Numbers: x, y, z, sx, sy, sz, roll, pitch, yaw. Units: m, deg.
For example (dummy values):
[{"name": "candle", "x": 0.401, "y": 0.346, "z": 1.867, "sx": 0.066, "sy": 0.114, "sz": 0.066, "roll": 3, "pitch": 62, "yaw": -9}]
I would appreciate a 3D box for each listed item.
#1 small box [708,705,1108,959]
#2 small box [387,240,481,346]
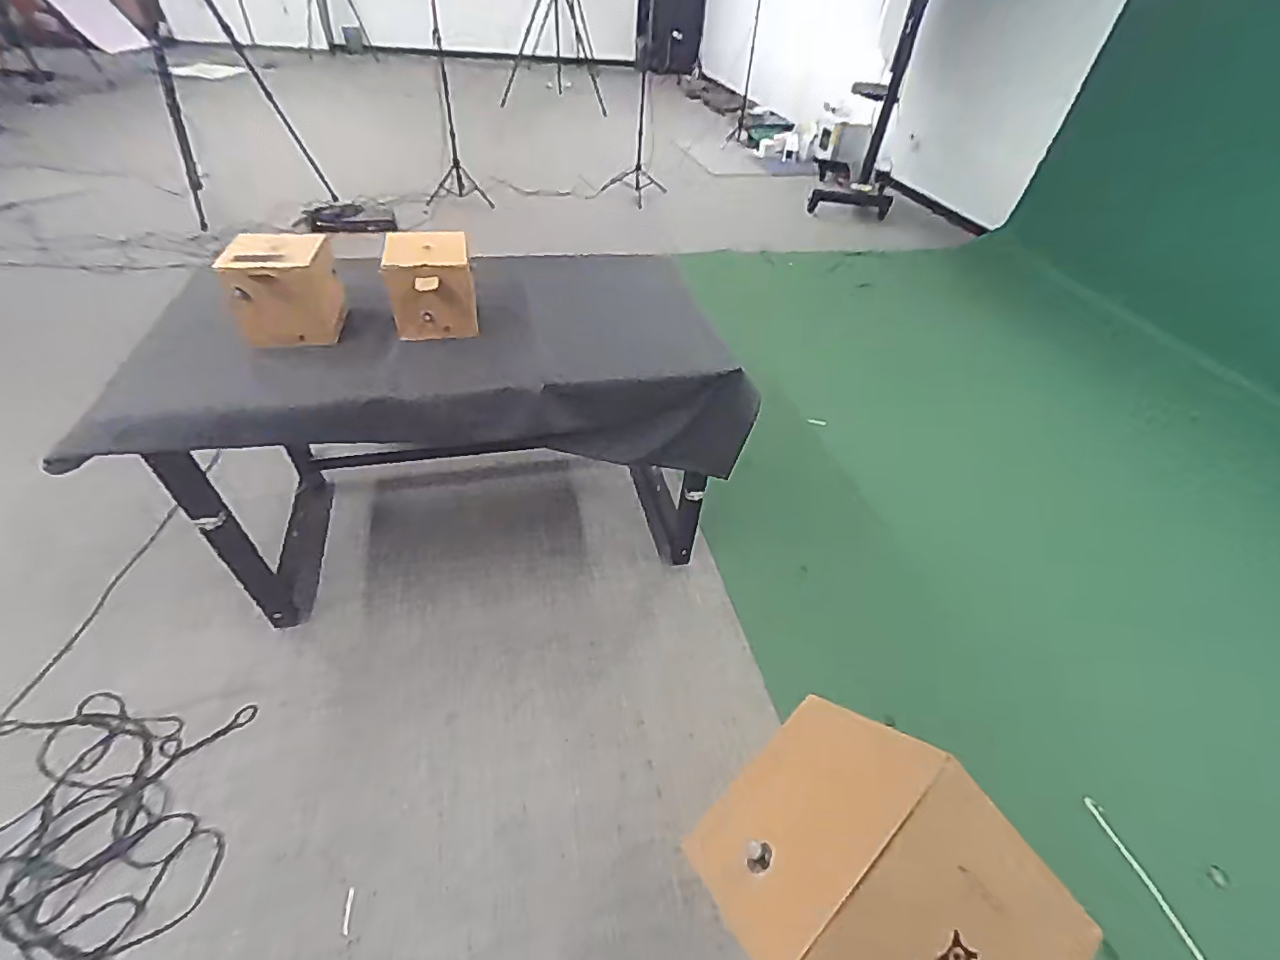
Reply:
[{"name": "small box", "x": 0.172, "y": 0.304, "z": 0.401, "sx": 0.179, "sy": 0.176, "sz": 0.168, "roll": -42, "pitch": 93, "yaw": -17}, {"name": "small box", "x": -0.449, "y": -0.415, "z": 1.199, "sx": 0.168, "sy": 0.176, "sz": 0.179, "roll": -7, "pitch": 46, "yaw": -13}]
